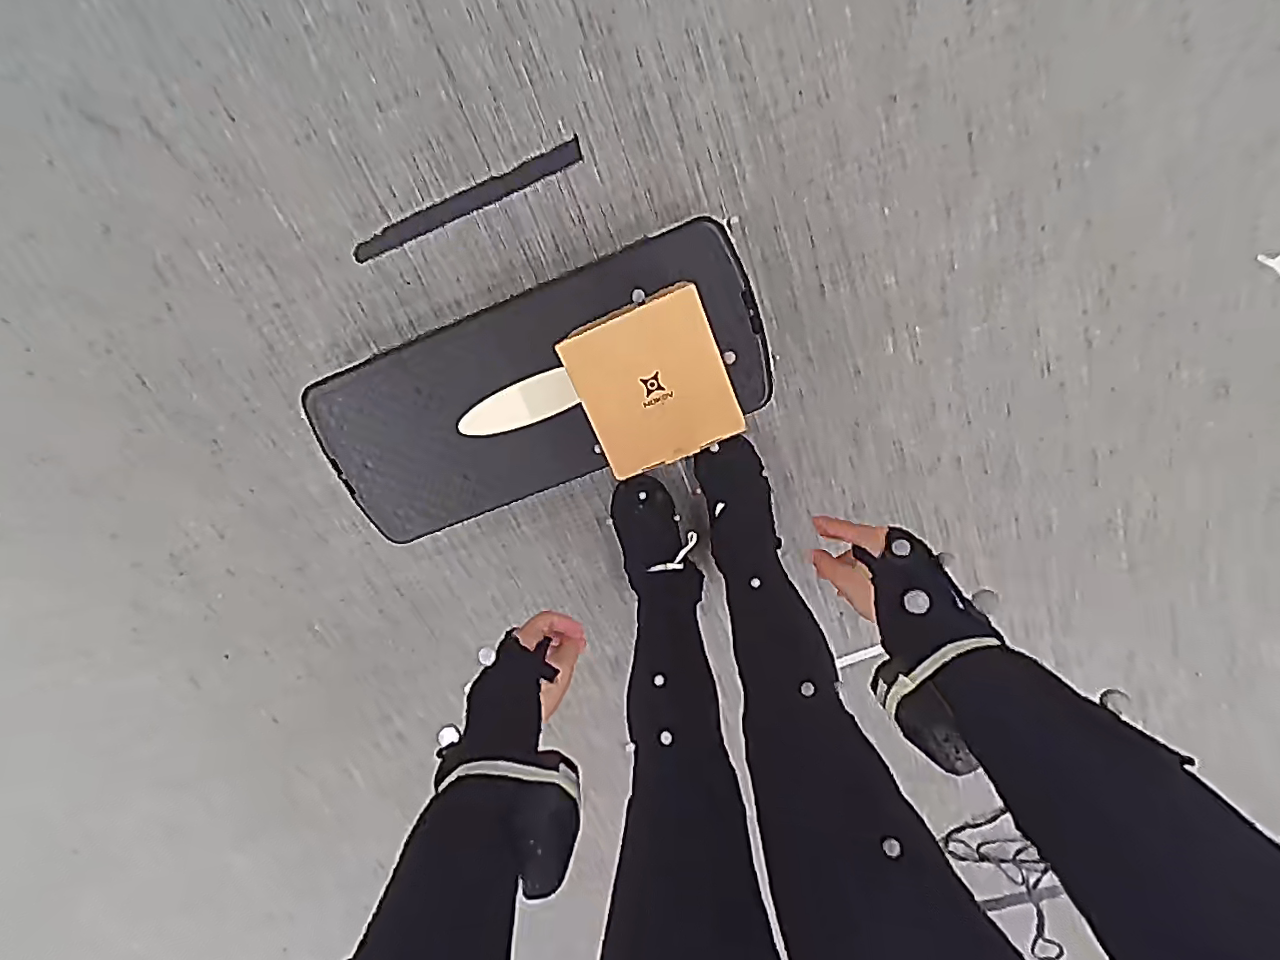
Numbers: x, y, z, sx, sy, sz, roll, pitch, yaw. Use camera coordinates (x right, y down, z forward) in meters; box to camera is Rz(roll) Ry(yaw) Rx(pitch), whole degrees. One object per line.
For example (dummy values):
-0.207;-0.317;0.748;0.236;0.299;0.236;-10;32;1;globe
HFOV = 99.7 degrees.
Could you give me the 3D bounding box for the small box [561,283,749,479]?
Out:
0.017;-0.131;0.677;0.168;0.176;0.179;-22;110;7;small box
